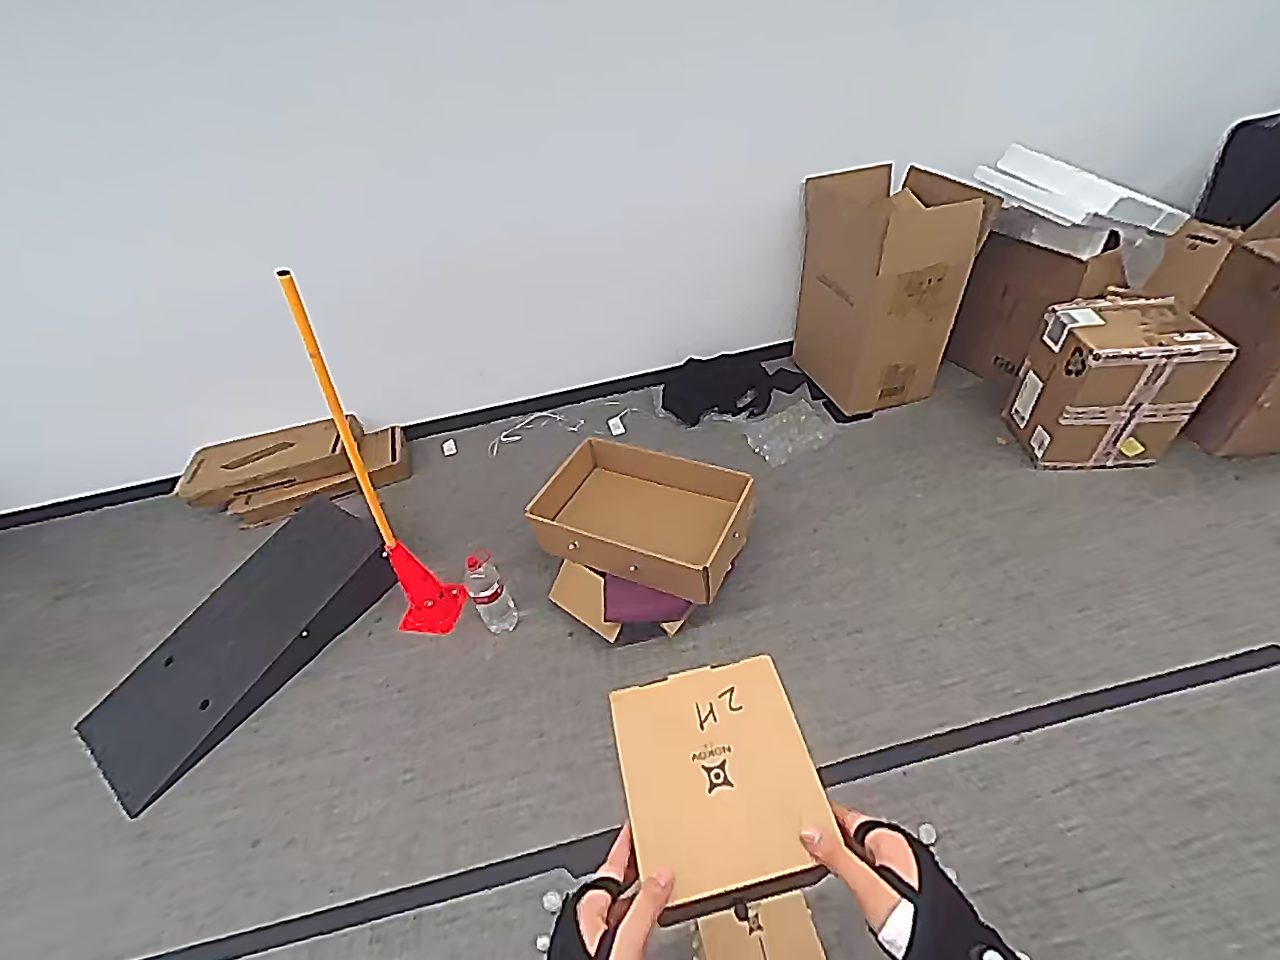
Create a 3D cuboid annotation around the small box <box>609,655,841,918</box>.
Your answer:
[{"bbox_3d":[0.074,0.305,0.534,0.168,0.176,0.179,-13,46,-4],"label":"small box"}]
